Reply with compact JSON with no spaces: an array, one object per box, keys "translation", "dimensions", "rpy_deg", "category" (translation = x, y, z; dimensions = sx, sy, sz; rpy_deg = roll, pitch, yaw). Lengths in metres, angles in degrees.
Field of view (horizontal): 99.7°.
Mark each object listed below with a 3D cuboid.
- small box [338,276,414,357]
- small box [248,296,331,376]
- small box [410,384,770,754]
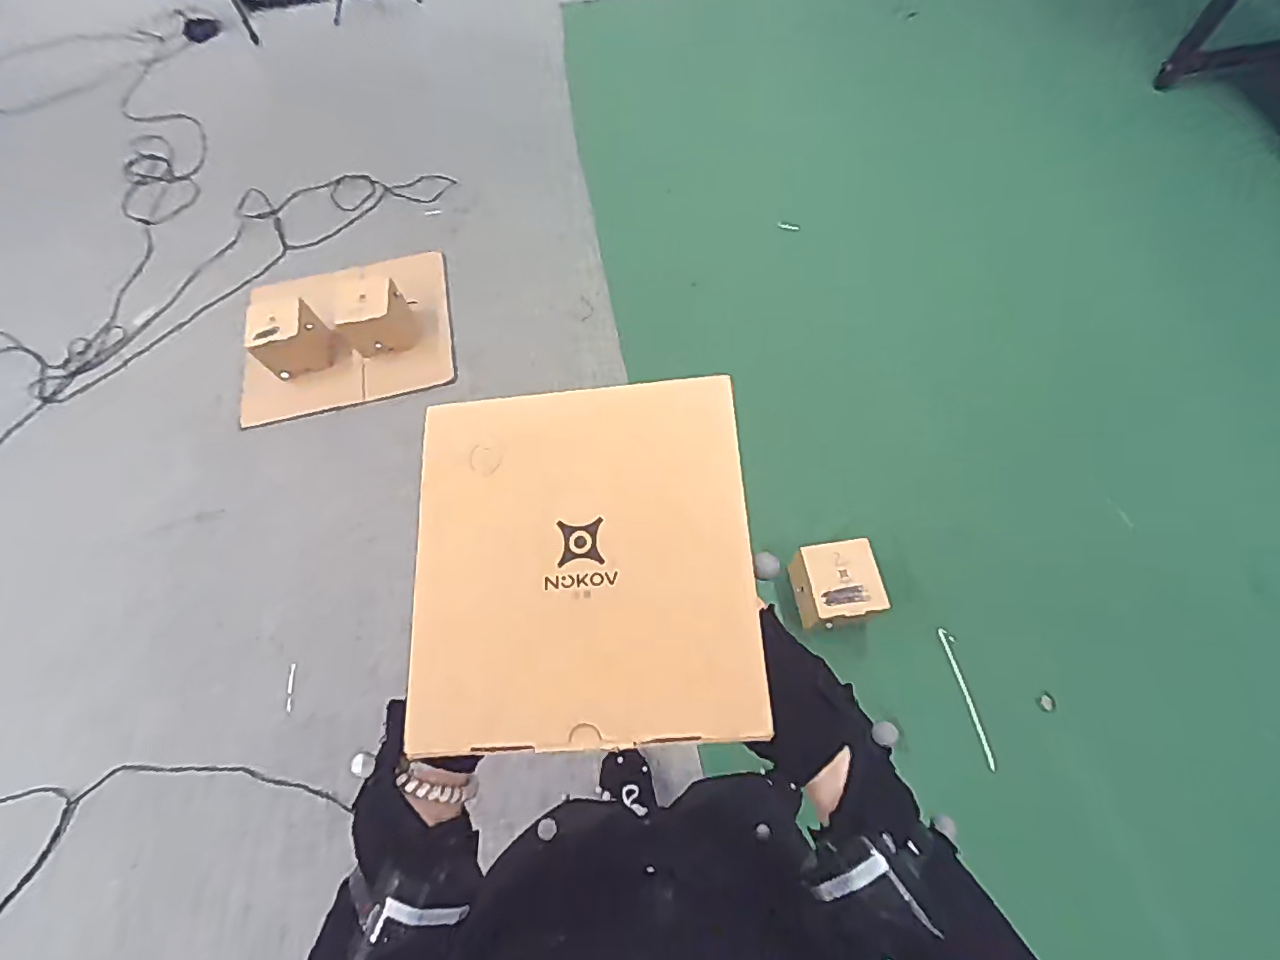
[{"translation":[-0.858,-0.533,1.772],"dimensions":[0.168,0.176,0.179],"rpy_deg":[-9,66,0],"category":"small box"},{"translation":[-1.127,-0.458,1.751],"dimensions":[0.168,0.176,0.179],"rpy_deg":[-15,65,-3],"category":"small box"},{"translation":[-0.022,0.061,0.342],"dimensions":[0.168,0.176,0.179],"rpy_deg":[-5,73,4],"category":"small box"}]
